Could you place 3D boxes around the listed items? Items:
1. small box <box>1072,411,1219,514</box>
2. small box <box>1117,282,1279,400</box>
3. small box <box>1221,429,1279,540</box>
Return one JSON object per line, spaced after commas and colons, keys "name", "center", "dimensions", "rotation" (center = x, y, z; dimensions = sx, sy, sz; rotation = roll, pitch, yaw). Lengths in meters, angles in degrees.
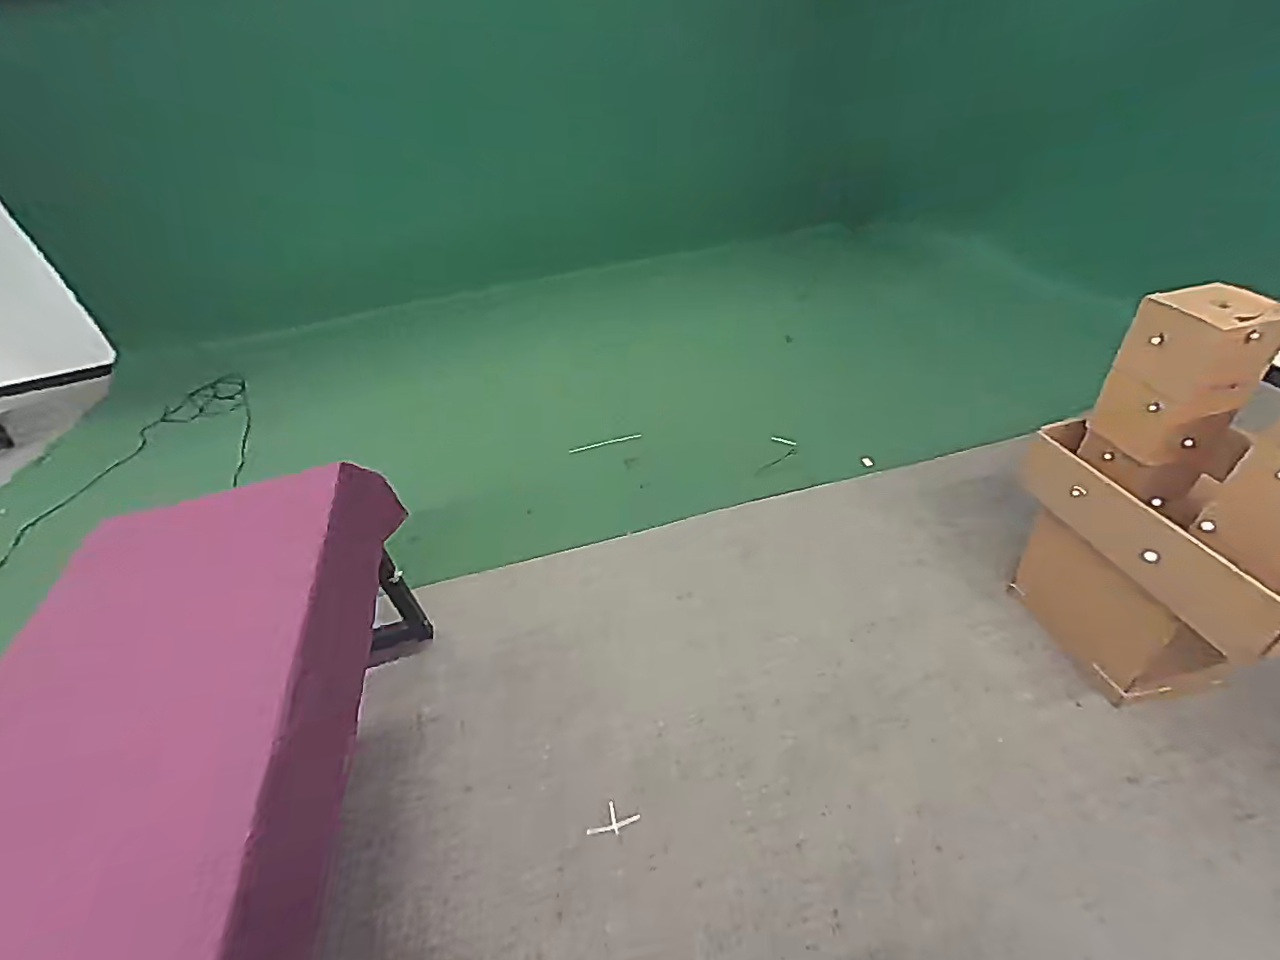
{"name": "small box", "center": [1.223, -0.042, 1.329], "dimensions": [0.168, 0.176, 0.179], "rotation": [-13, 40, -2]}
{"name": "small box", "center": [1.159, -0.287, 1.121], "dimensions": [0.168, 0.176, 0.179], "rotation": [-12, 39, -1]}
{"name": "small box", "center": [1.256, 0.011, 0.991], "dimensions": [0.168, 0.176, 0.179], "rotation": [-11, 40, -2]}
